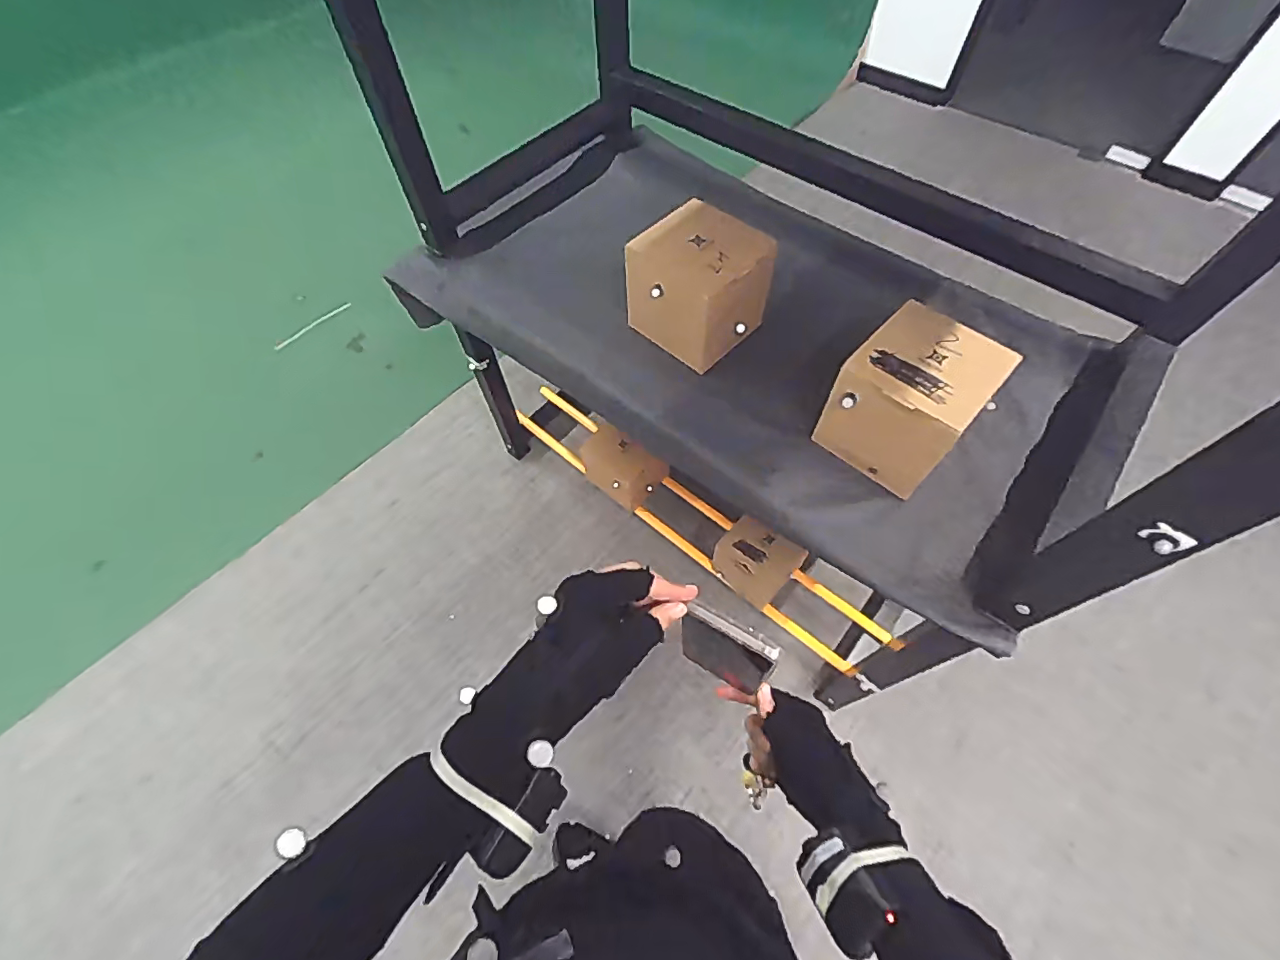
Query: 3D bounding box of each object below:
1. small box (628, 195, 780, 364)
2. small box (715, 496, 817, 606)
[{"bbox_3d":[0.099,-0.324,0.890,0.179,0.176,0.168,39,68,22],"label":"small box"},{"bbox_3d":[0.298,0.178,1.315,0.168,0.176,0.179,40,69,21],"label":"small box"}]
